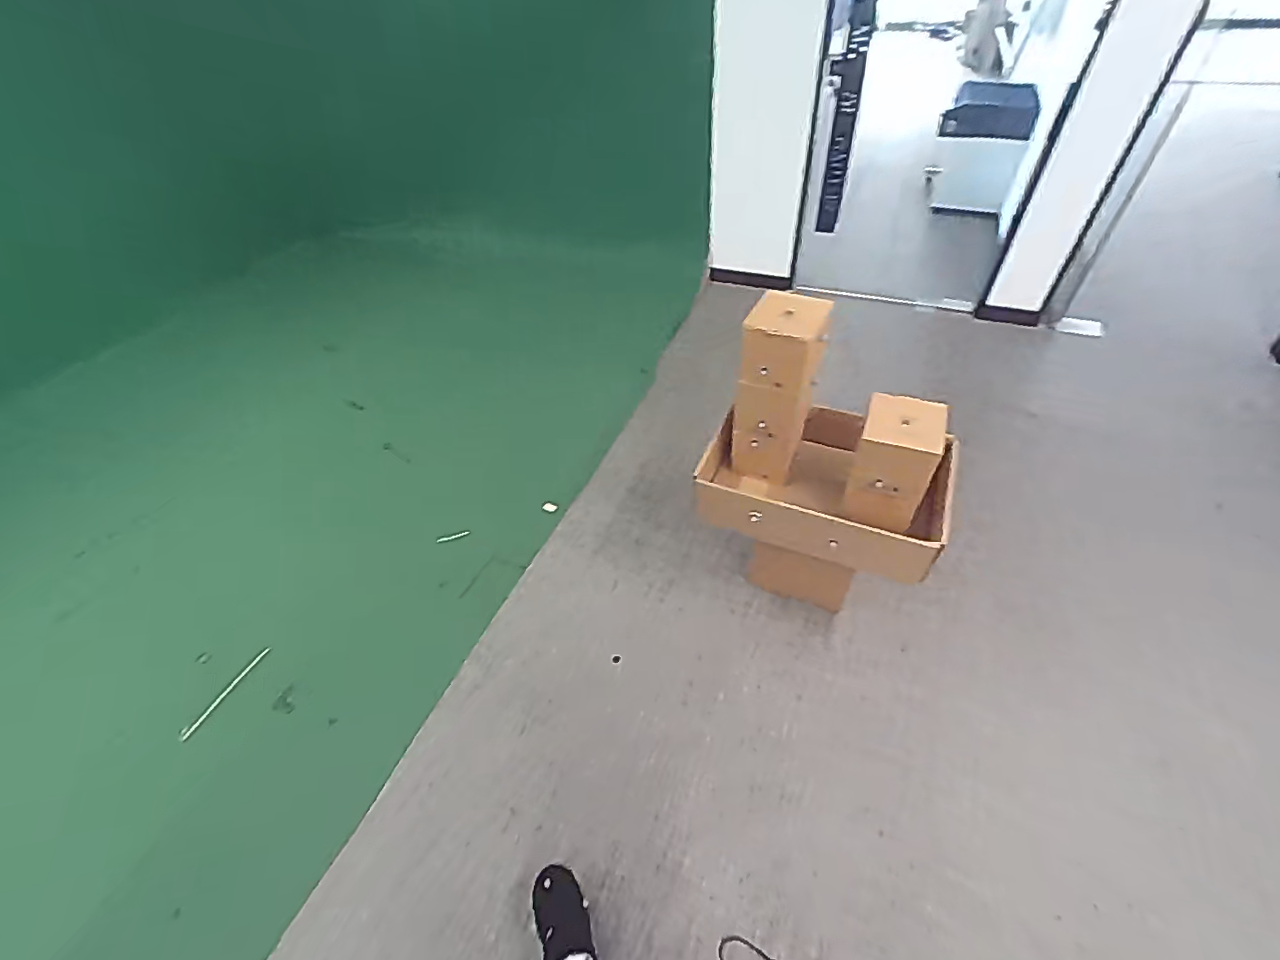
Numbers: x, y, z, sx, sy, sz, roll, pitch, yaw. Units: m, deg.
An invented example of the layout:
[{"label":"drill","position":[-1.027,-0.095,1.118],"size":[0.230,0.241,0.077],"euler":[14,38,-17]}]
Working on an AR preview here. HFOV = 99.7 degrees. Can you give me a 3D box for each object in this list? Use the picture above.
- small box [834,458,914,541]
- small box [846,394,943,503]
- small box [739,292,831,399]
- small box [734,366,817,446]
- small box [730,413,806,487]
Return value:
[{"label":"small box","position":[0.617,0.033,1.415],"size":[0.168,0.176,0.179],"euler":[16,50,18]},{"label":"small box","position":[0.604,-0.075,1.293],"size":[0.168,0.176,0.179],"euler":[15,51,18]},{"label":"small box","position":[0.350,-0.330,1.329],"size":[0.168,0.176,0.179],"euler":[21,54,22]},{"label":"small box","position":[0.357,-0.222,1.450],"size":[0.168,0.176,0.179],"euler":[19,53,22]},{"label":"small box","position":[0.367,-0.113,1.572],"size":[0.168,0.176,0.179],"euler":[18,52,20]}]
